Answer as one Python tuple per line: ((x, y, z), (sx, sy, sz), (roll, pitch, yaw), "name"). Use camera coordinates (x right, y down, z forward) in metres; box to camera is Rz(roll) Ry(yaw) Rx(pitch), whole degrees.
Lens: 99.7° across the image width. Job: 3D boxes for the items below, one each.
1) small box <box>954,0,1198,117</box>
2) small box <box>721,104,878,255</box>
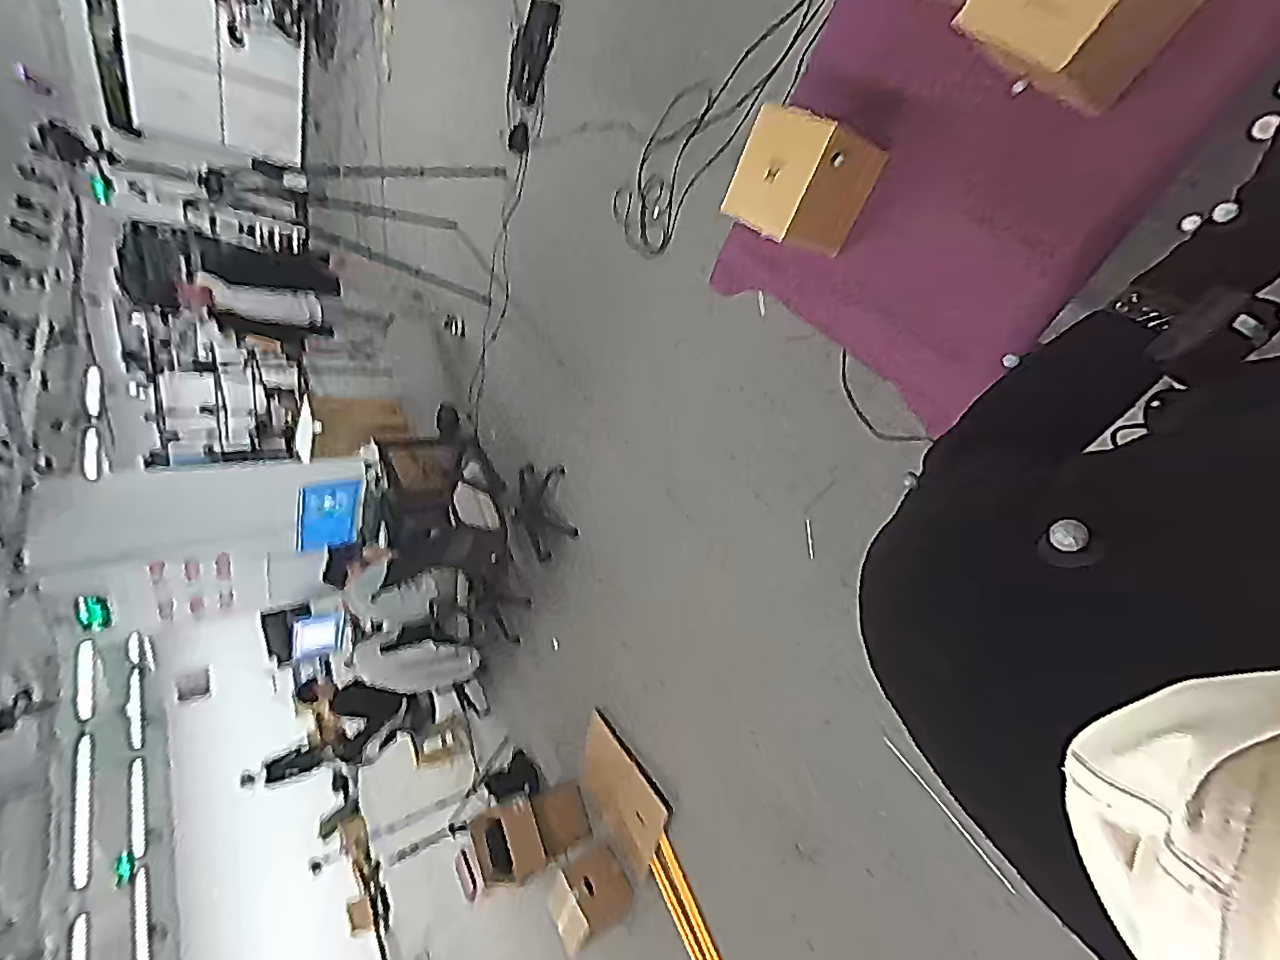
((0.529, -0.580, 0.641), (0.168, 0.176, 0.179), (59, 136, 28), "small box")
((0.280, -0.518, 0.950), (0.168, 0.176, 0.179), (48, 128, 35), "small box")
